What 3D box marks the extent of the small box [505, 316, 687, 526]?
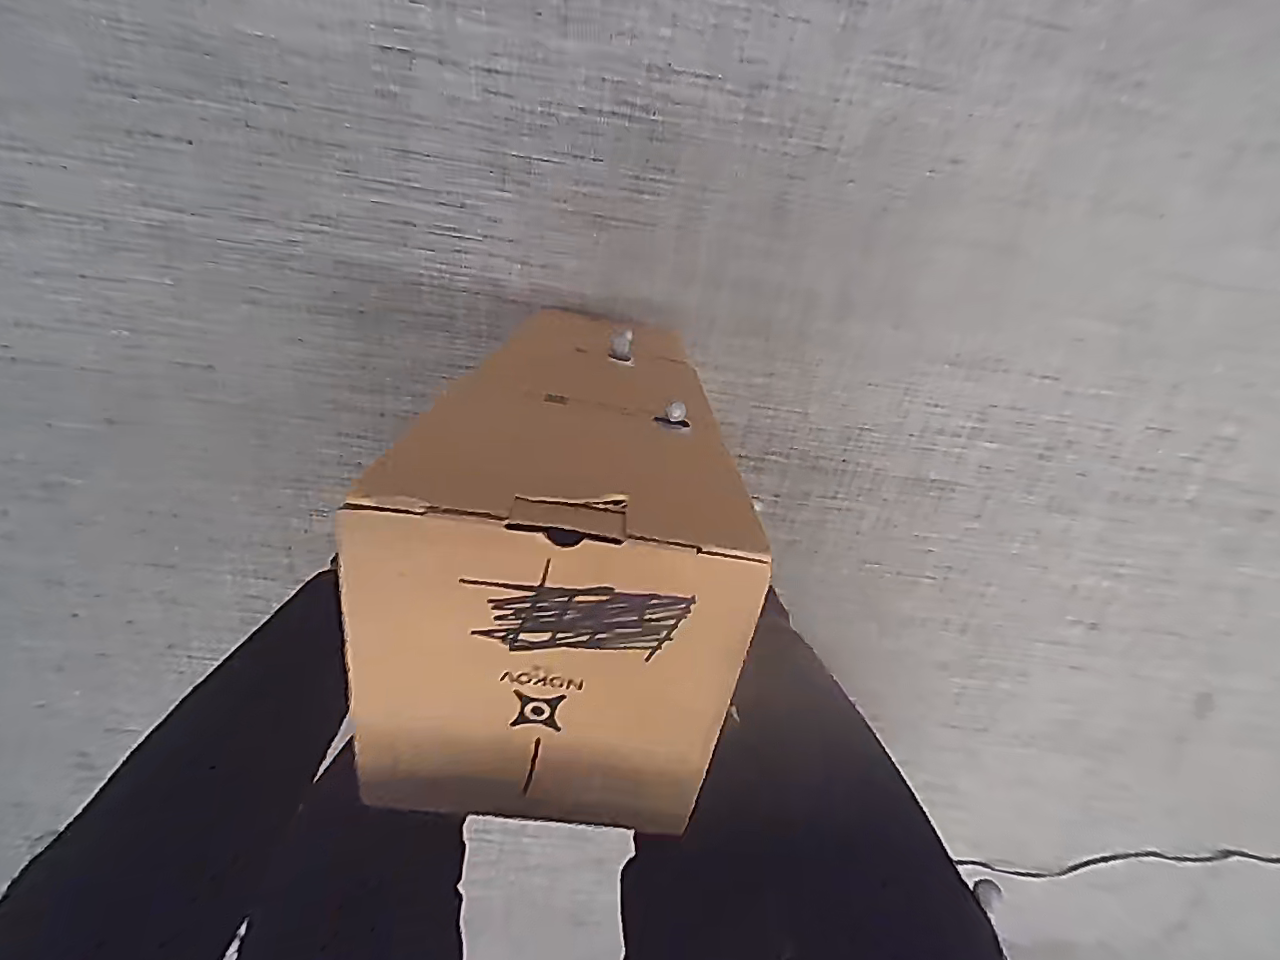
[{"bbox_3d":[-0.049,-0.074,0.613,0.168,0.176,0.179,9,115,-5],"label":"small box"}]
